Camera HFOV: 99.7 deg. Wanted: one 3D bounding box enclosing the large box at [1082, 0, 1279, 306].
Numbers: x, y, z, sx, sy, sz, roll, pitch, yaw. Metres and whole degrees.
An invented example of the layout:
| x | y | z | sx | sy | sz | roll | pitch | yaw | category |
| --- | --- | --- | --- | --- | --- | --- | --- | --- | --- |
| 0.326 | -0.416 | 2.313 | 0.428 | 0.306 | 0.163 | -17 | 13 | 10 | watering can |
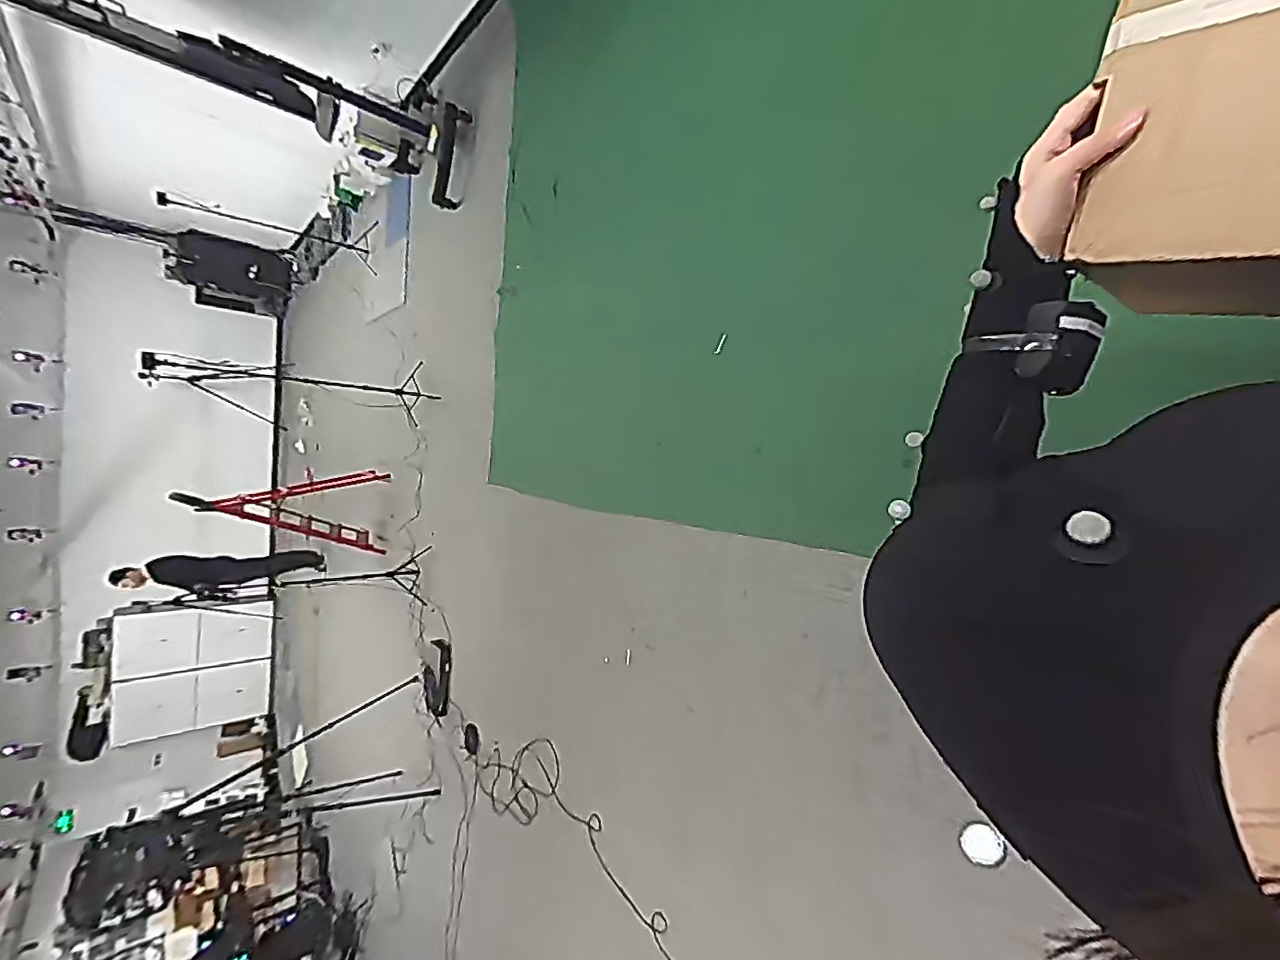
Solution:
| x | y | z | sx | sy | sz | roll | pitch | yaw | category |
| --- | --- | --- | --- | --- | --- | --- | --- | --- | --- |
| 0.594 | -0.295 | 0.345 | 0.408 | 0.320 | 0.320 | 19 | 109 | 46 | large box |
